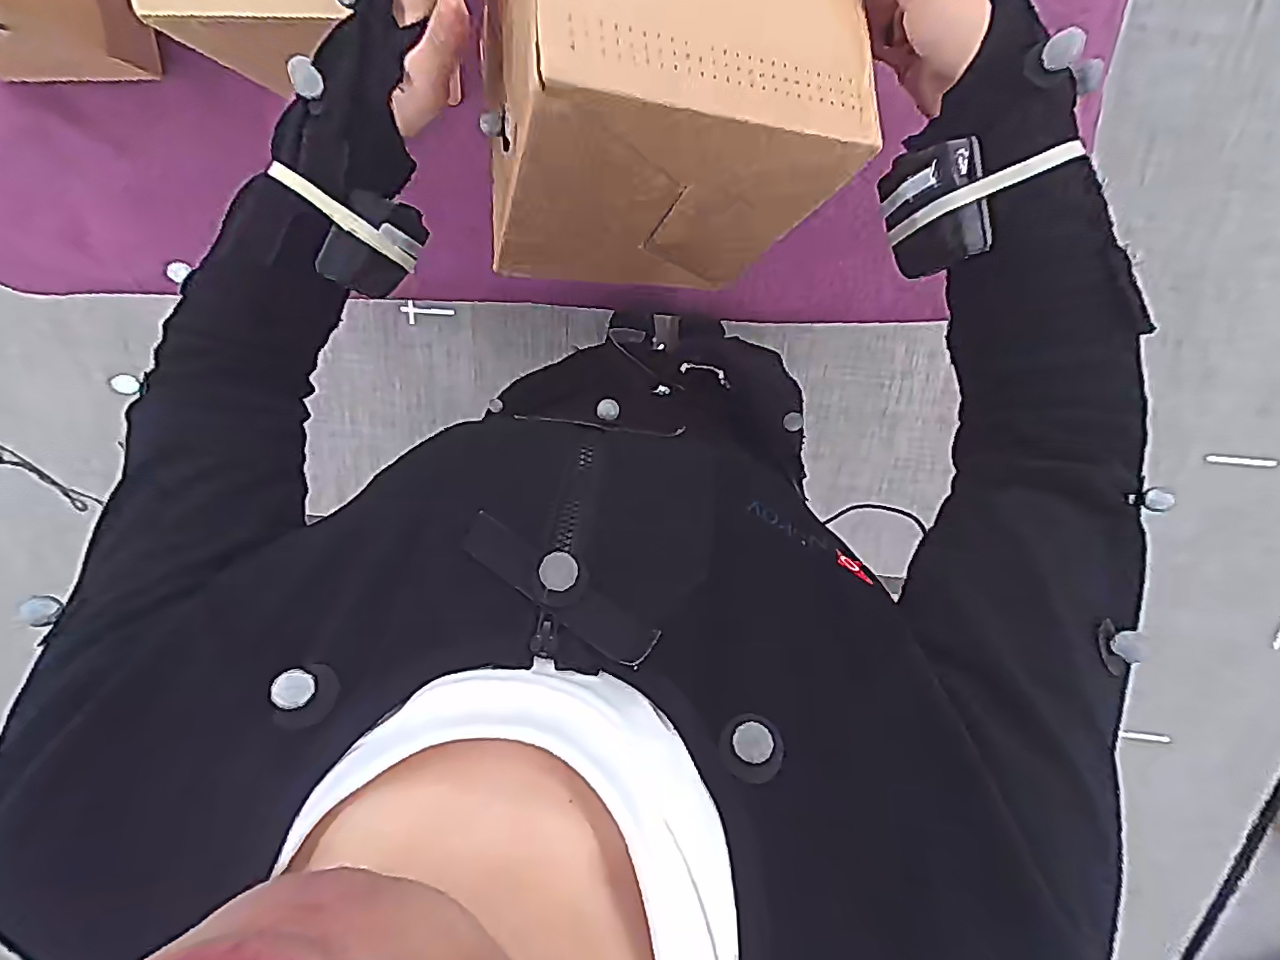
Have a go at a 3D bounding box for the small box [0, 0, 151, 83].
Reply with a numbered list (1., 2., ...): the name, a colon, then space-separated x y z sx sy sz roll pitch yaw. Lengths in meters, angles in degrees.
1. small box: -0.563 -0.458 0.448 0.179 0.176 0.168 1 107 2
